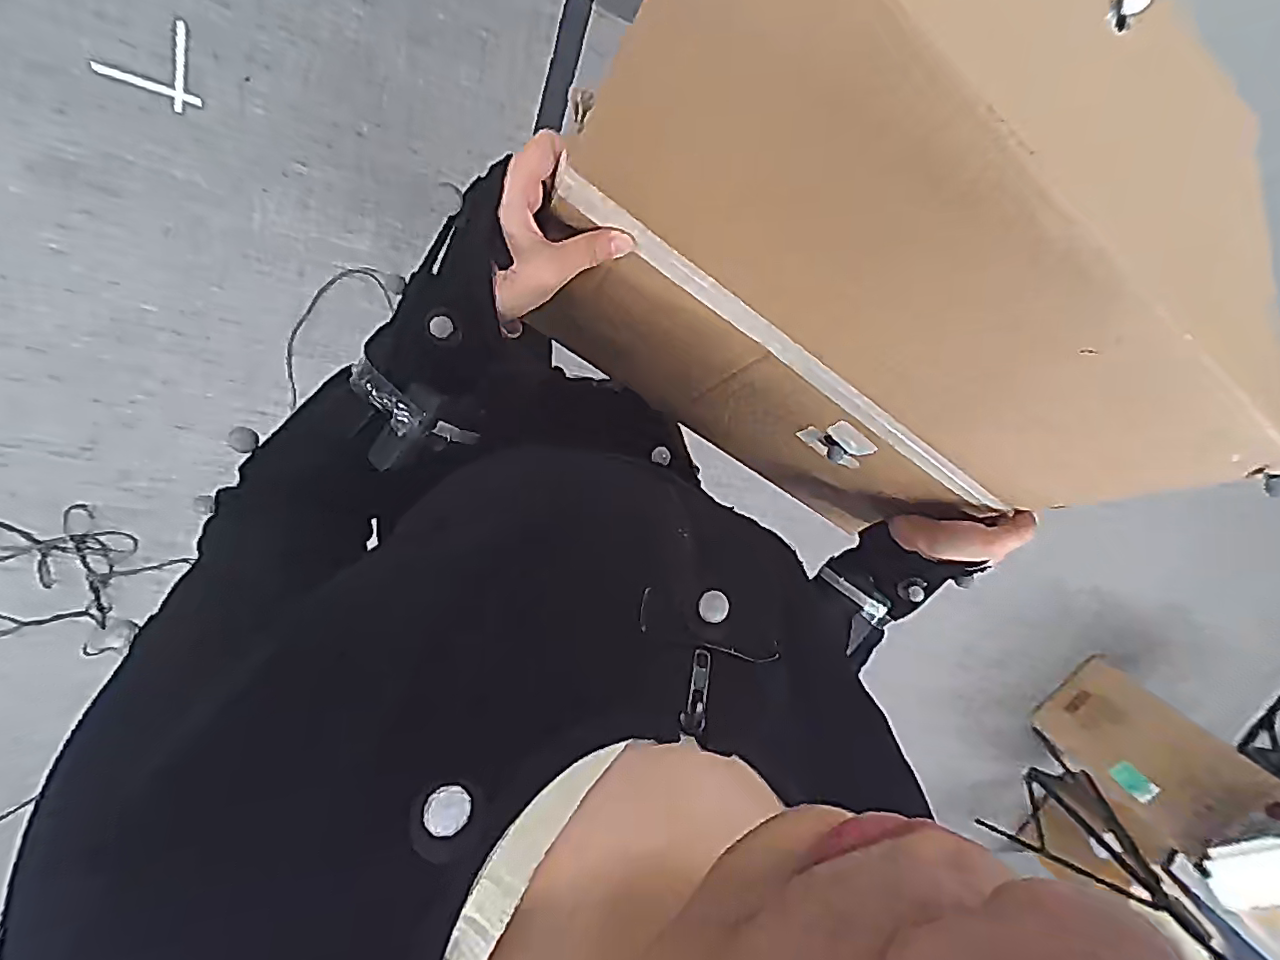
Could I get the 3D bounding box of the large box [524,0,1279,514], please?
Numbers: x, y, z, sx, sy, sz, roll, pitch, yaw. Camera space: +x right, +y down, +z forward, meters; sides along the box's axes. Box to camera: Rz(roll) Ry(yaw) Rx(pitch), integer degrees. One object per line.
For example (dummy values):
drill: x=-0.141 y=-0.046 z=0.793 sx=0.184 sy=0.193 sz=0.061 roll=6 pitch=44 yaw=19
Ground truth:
large box: x=0.190 y=-0.219 z=0.390 sx=0.408 sy=0.320 sz=0.320 roll=29 pitch=68 yaw=-18
